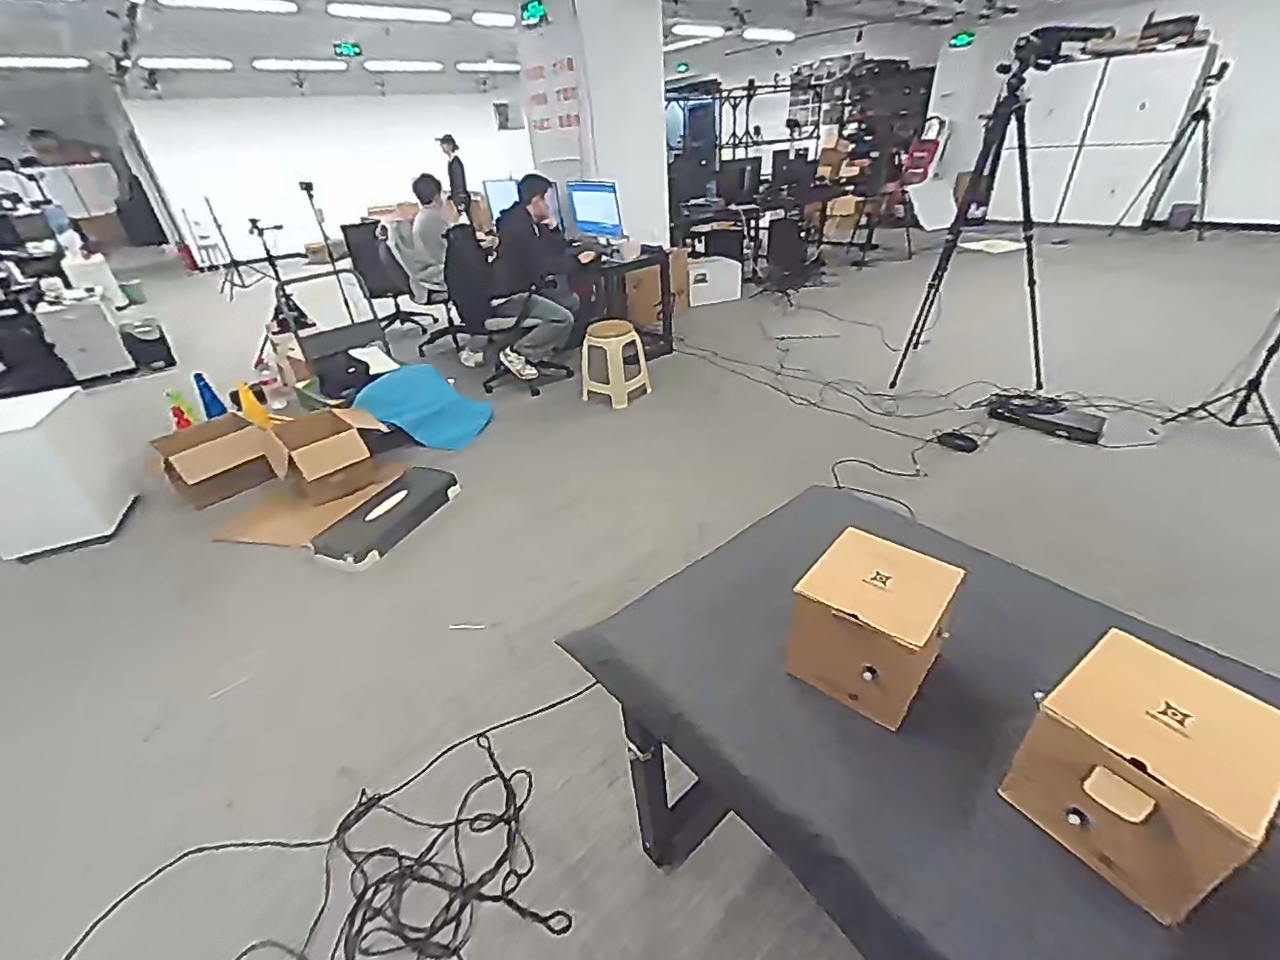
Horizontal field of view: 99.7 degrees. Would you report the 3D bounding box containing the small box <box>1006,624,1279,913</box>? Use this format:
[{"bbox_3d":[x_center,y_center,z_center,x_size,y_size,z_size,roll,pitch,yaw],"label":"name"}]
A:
[{"bbox_3d":[0.529,0.295,0.573,0.179,0.176,0.168,-23,37,-27],"label":"small box"}]

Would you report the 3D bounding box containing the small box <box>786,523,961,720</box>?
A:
[{"bbox_3d":[0.320,0.194,0.761,0.168,0.176,0.179,24,40,35],"label":"small box"}]
